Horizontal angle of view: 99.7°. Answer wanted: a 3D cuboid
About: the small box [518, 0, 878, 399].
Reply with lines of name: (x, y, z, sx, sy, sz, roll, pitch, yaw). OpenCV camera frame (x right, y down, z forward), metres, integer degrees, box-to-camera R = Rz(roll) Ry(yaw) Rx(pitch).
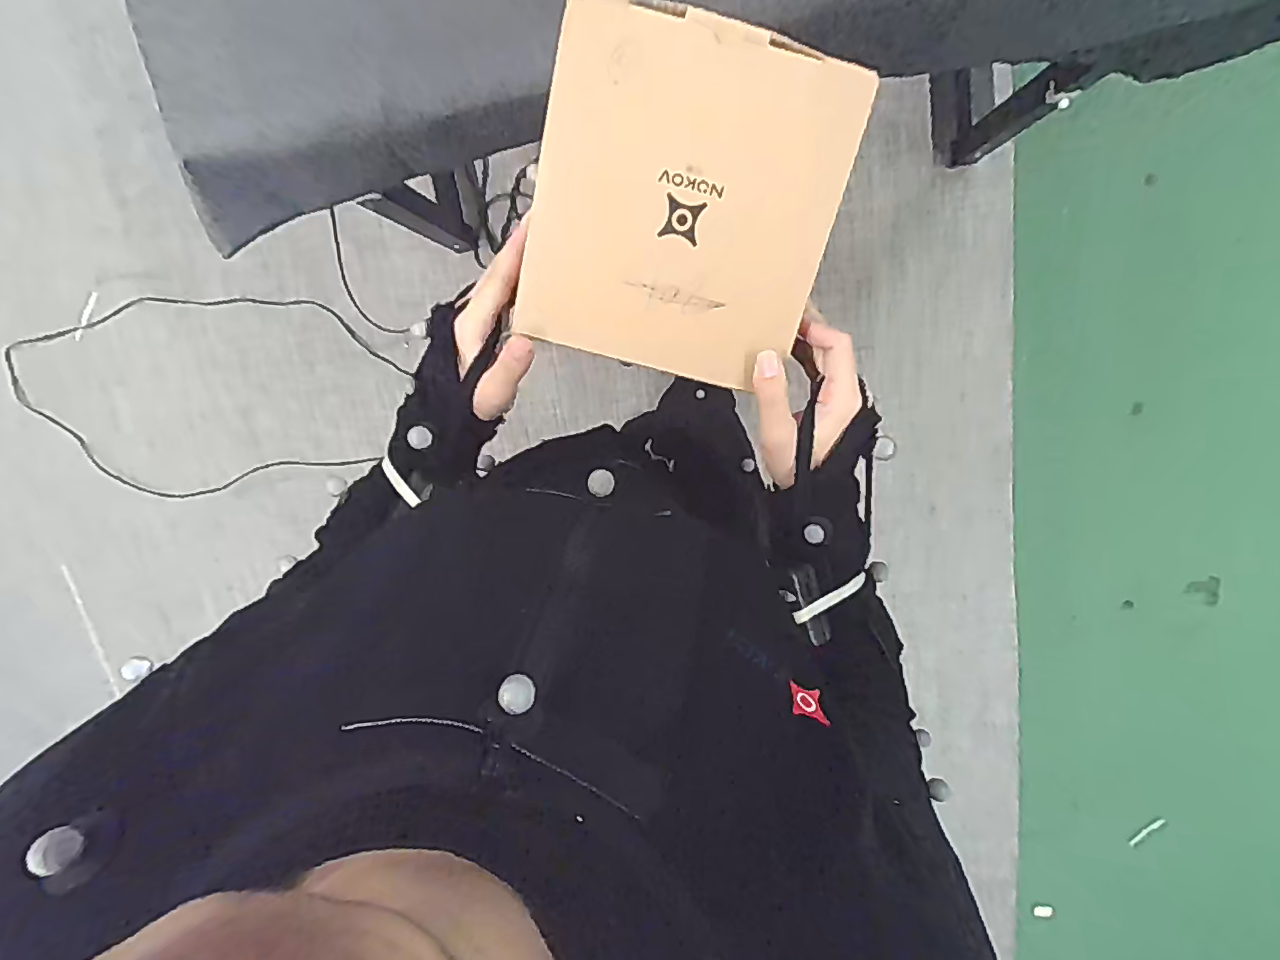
small box: (0.026, -0.173, 0.378, 0.168, 0.176, 0.179, 14, 108, -4)
